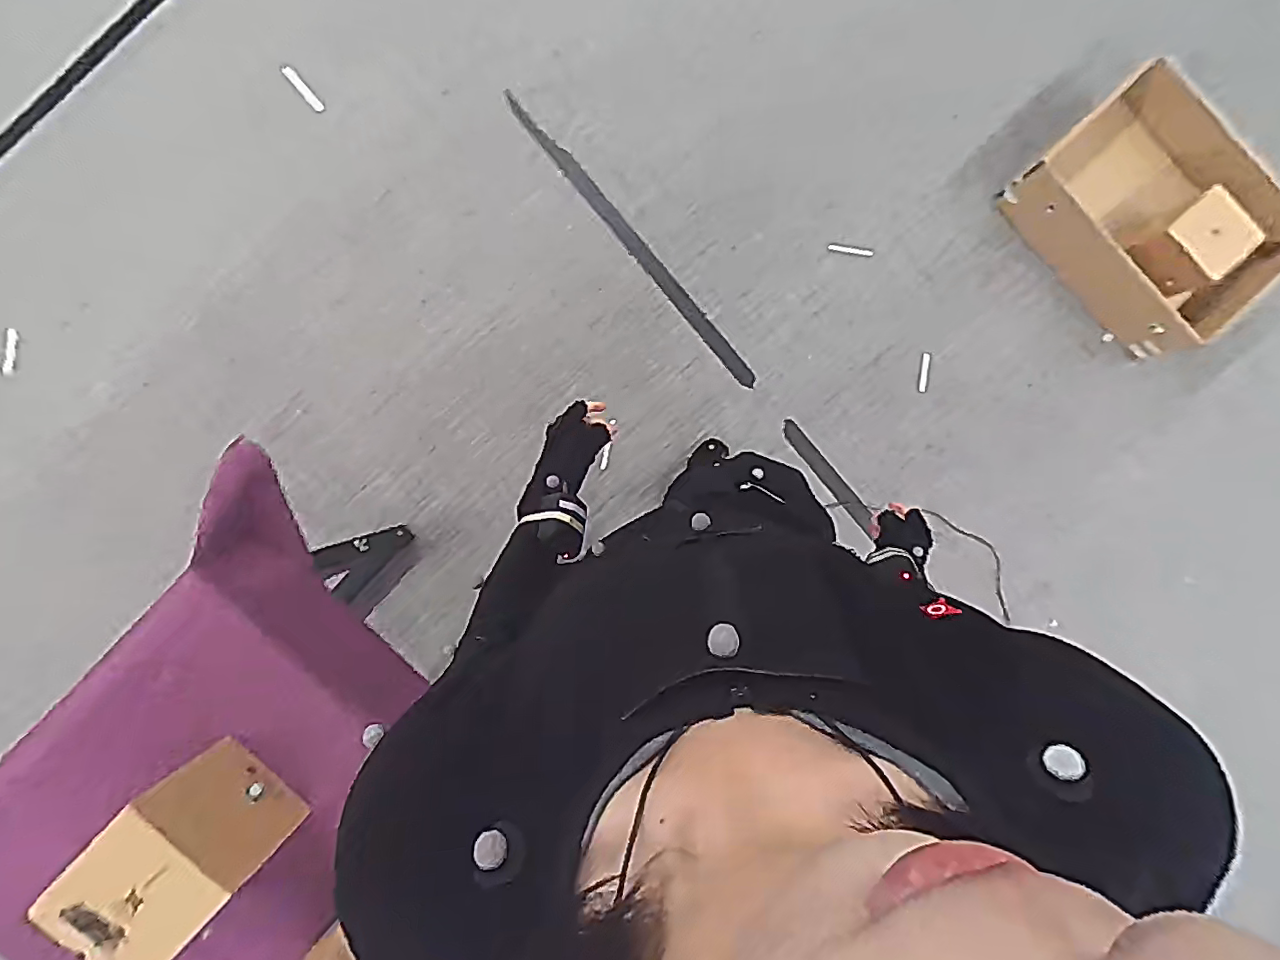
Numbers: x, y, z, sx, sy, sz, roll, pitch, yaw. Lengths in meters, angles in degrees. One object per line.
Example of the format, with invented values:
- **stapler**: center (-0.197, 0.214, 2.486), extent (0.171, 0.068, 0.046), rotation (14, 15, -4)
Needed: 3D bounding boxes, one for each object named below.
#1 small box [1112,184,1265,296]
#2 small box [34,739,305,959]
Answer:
- **small box**: center (1.376, -0.593, 1.370), extent (0.168, 0.176, 0.179), rotation (-44, 90, 1)
- **small box**: center (-0.599, 0.493, 0.716), extent (0.168, 0.176, 0.179), rotation (44, 91, -2)
